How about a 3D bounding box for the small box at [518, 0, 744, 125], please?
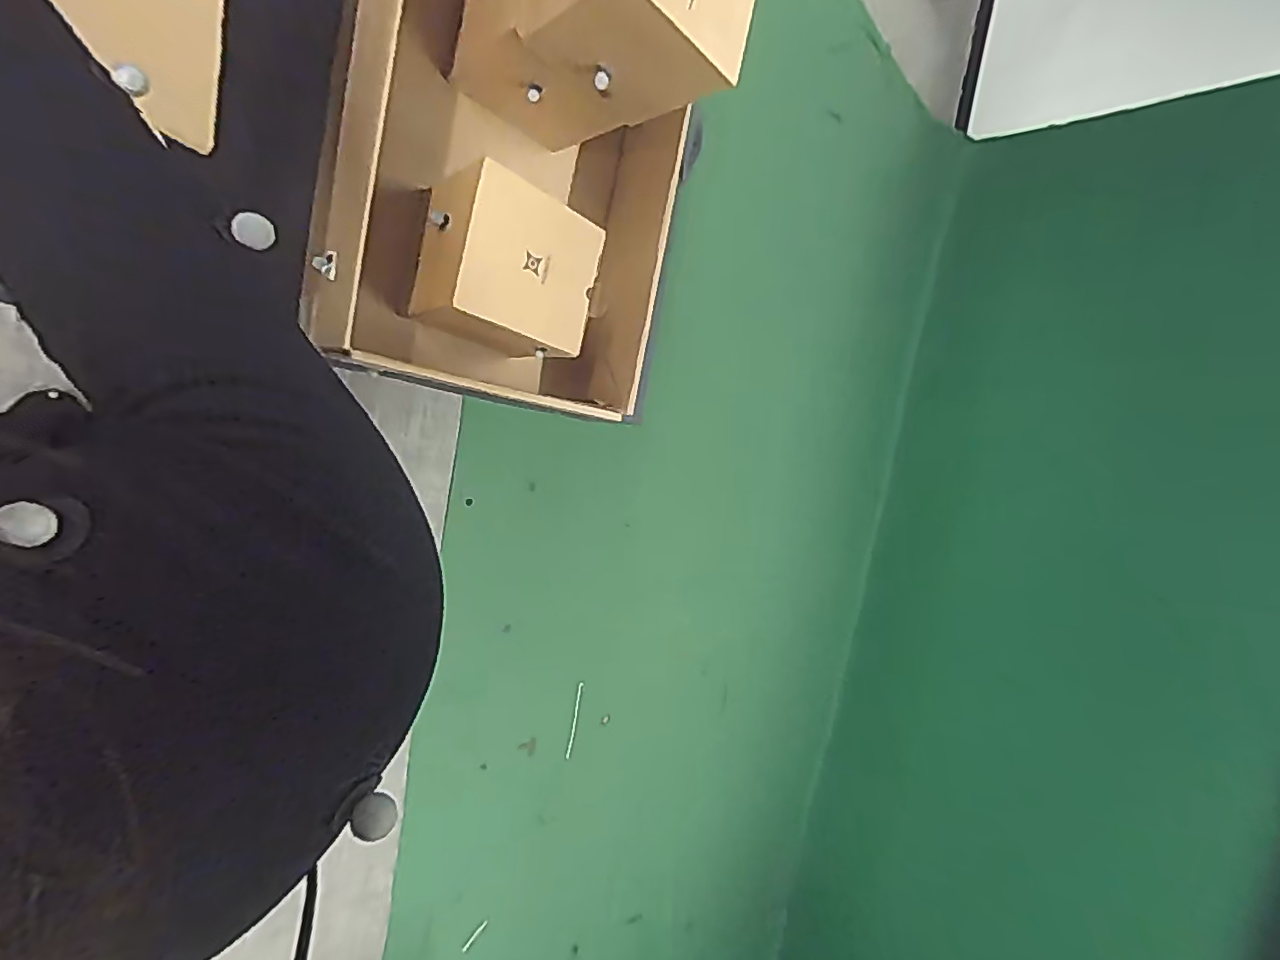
[{"bbox_3d":[-0.006,-0.516,0.562,0.168,0.176,0.179,7,98,-45],"label":"small box"}]
